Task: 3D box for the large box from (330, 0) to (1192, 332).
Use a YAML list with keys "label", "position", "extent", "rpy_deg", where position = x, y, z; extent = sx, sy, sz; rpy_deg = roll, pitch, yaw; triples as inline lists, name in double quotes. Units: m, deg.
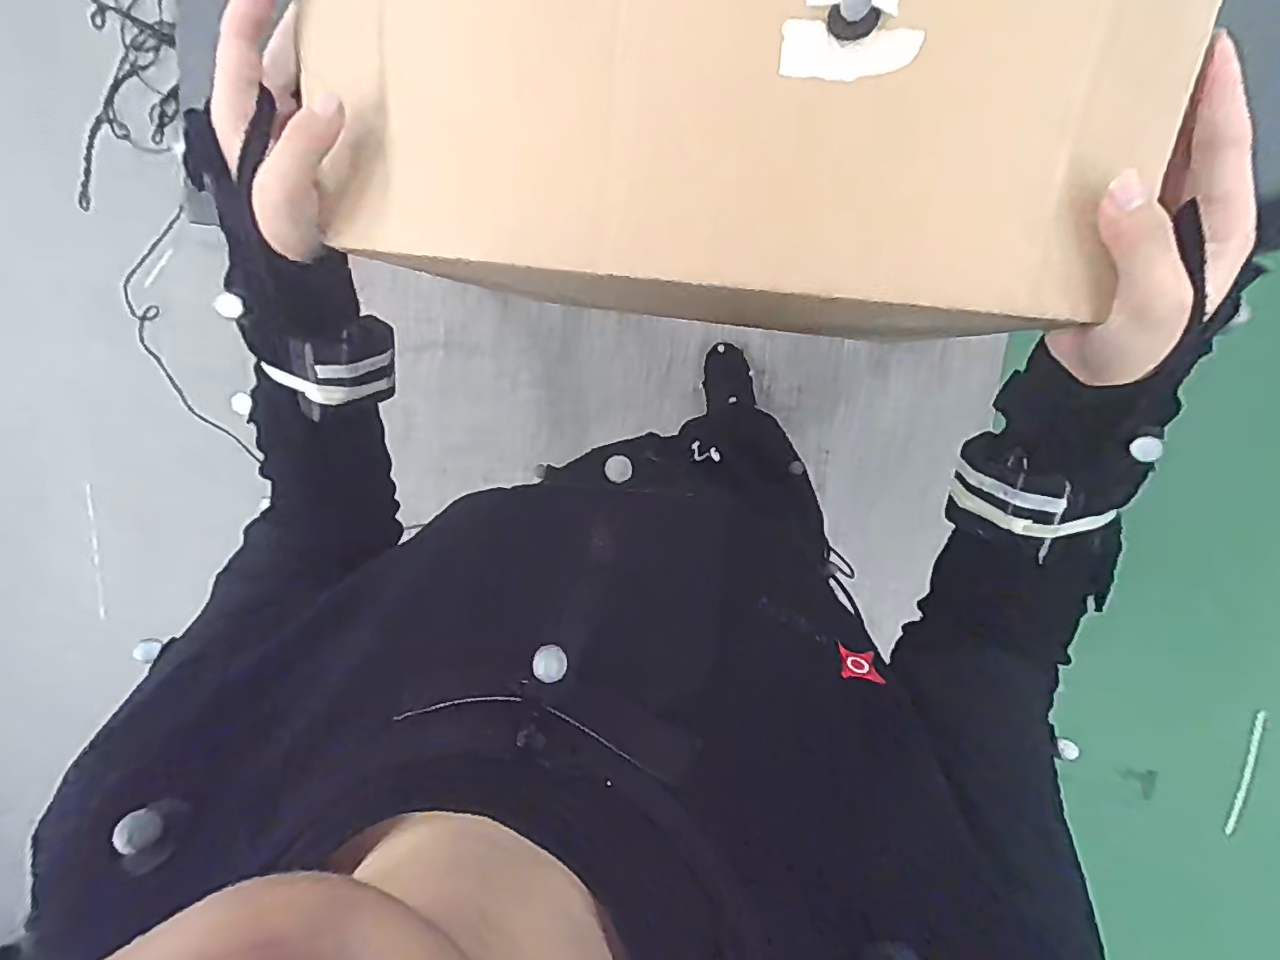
- label: "large box"
  position: [0.062, -0.288, 0.389]
  extent: [0.408, 0.320, 0.320]
  rpy_deg: [8, 105, 7]
